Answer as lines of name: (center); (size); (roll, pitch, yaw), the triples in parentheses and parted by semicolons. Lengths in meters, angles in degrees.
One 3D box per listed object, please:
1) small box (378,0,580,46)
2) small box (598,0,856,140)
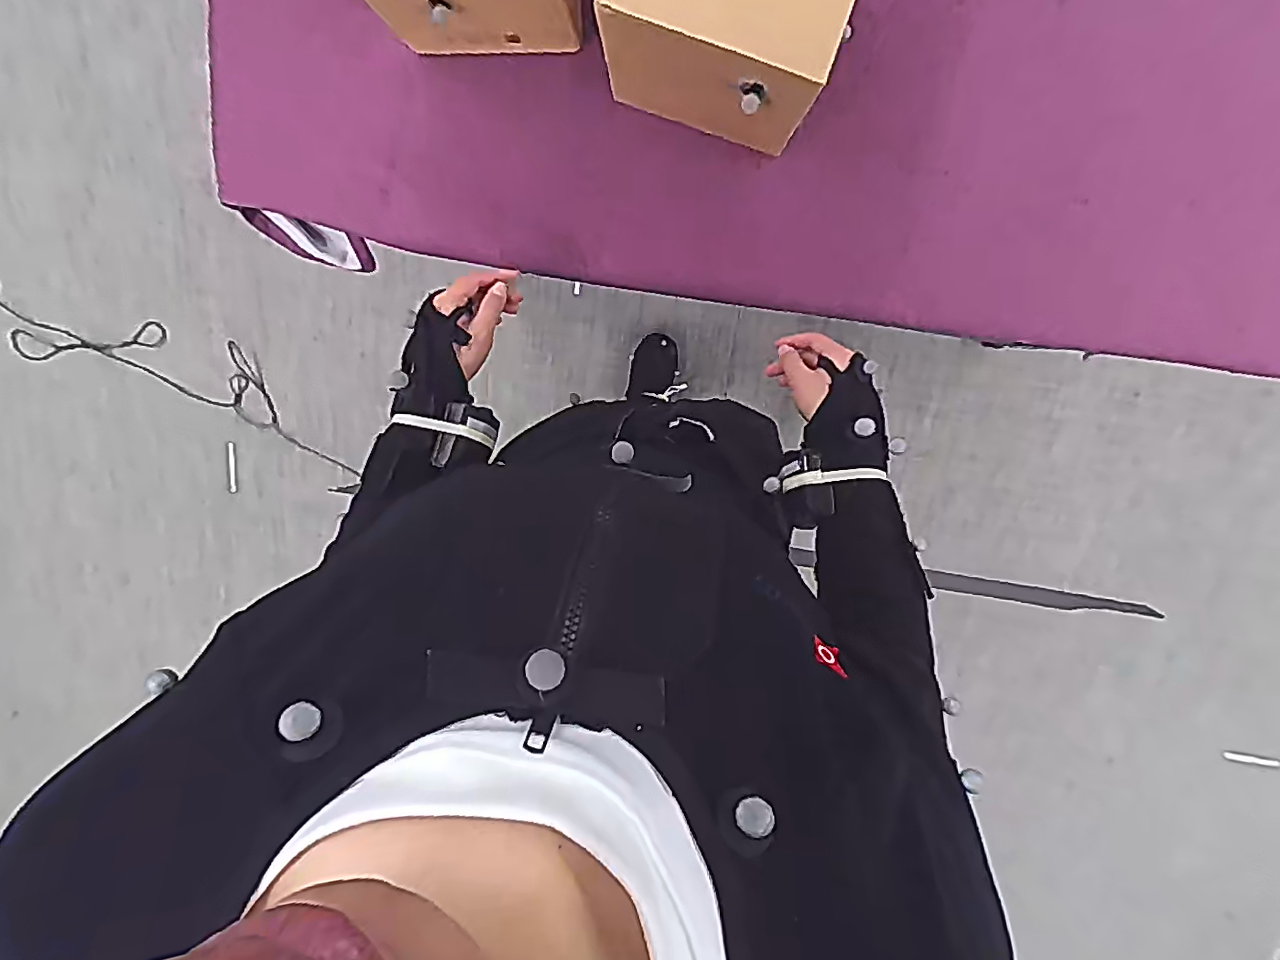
small box: (-0.142, -0.480, 0.429); (0.168, 0.176, 0.179); (1, 106, 3)
small box: (0.078, -0.407, 0.437); (0.179, 0.176, 0.168); (18, 105, -2)
